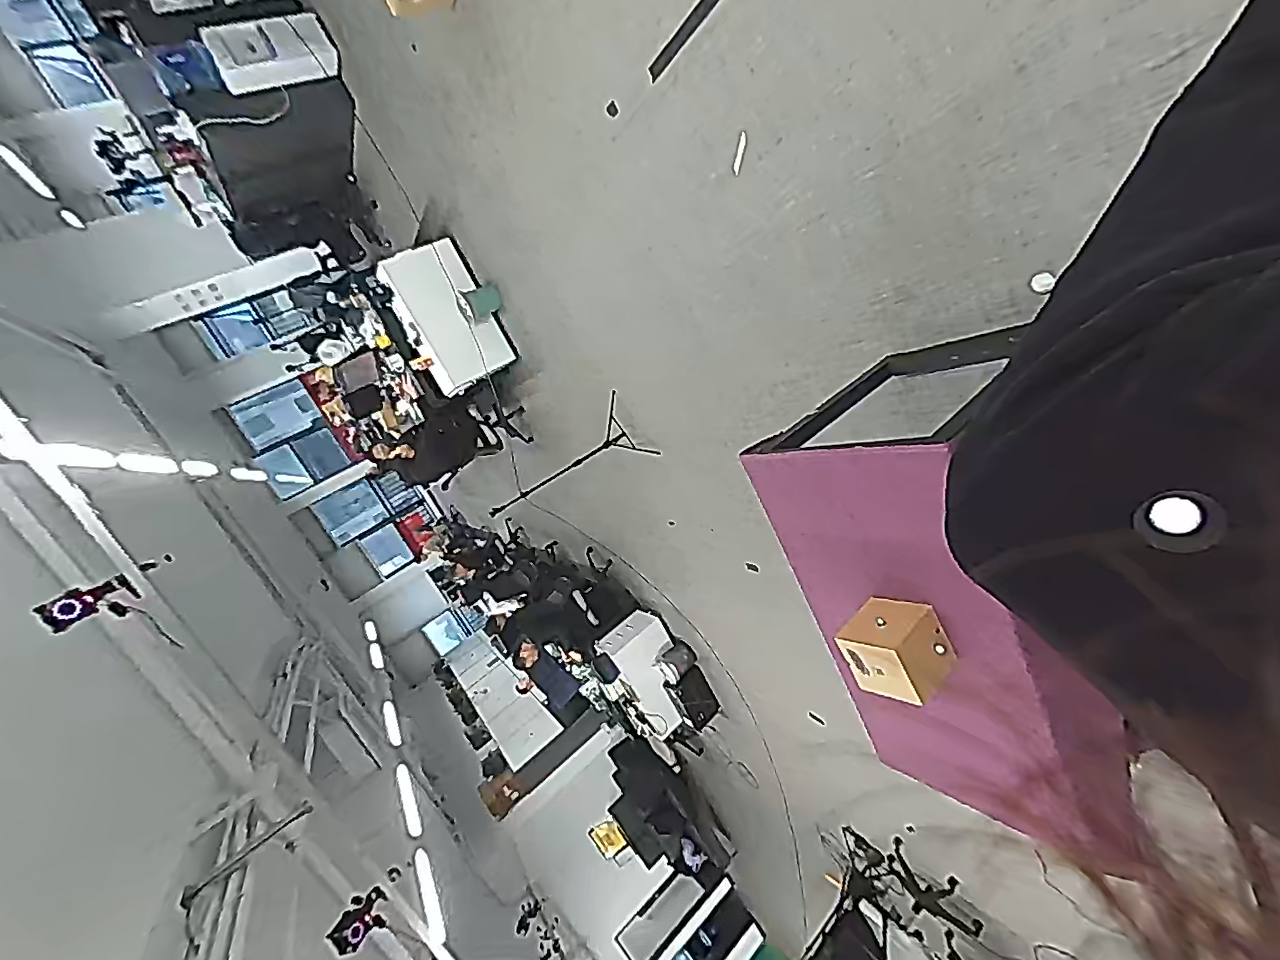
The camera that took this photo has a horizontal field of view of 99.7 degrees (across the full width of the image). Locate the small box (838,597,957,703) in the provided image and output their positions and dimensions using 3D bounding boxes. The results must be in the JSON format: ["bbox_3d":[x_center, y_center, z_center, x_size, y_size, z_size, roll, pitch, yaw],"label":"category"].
[{"bbox_3d":[0.632,0.406,1.327,0.168,0.176,0.179,60,154,-10],"label":"small box"}]
